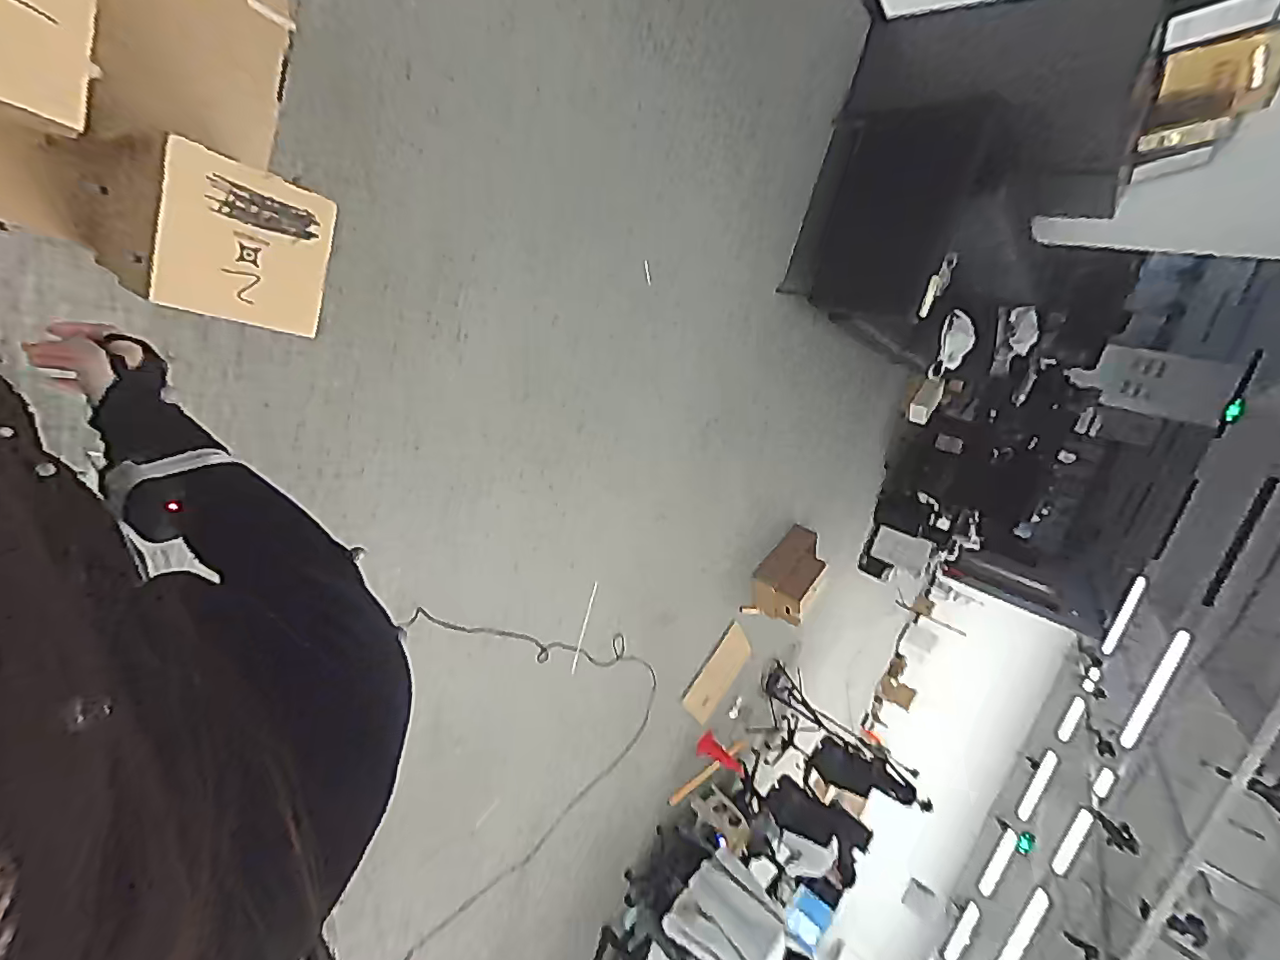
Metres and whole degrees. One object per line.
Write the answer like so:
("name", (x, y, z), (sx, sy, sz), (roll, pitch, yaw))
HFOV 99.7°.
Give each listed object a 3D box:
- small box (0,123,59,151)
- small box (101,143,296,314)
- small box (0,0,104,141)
("small box", (-0.732, -0.479, 0.570), (0.168, 0.176, 0.179), (4, 104, -52))
("small box", (-0.628, -0.351, 0.770), (0.179, 0.176, 0.168), (2, 106, -51))
("small box", (-0.606, -0.425, 0.476), (0.179, 0.176, 0.168), (3, 106, -51))
